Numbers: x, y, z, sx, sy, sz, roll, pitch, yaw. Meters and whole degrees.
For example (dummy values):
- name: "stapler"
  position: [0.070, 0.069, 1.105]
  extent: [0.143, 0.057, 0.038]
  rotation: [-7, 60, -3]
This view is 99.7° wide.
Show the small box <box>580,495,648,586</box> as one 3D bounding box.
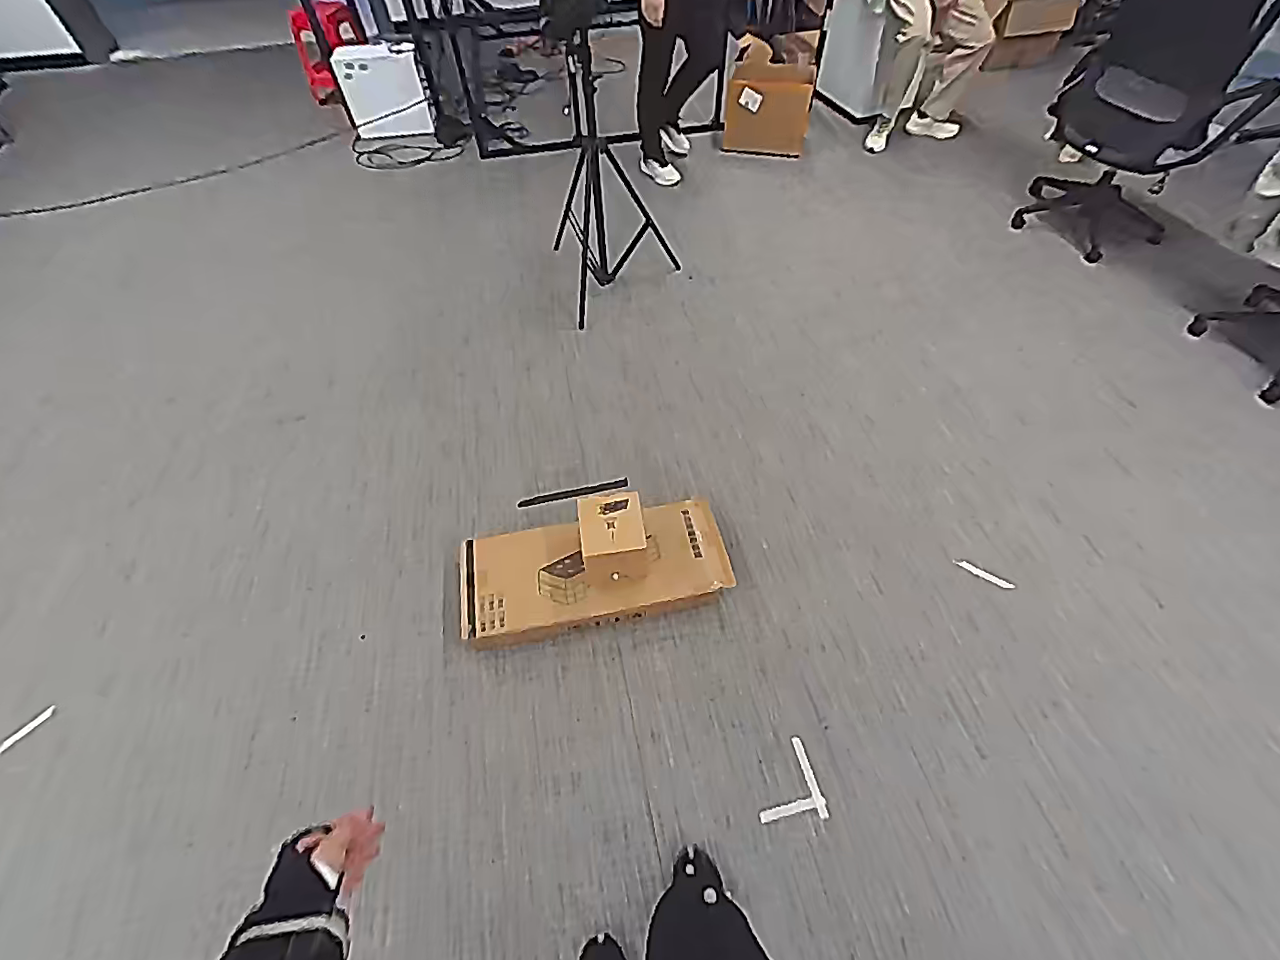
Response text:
- name: "small box"
  position: [-0.070, 0.166, 1.462]
  extent: [0.168, 0.176, 0.179]
  rotation: [-8, 55, -3]
